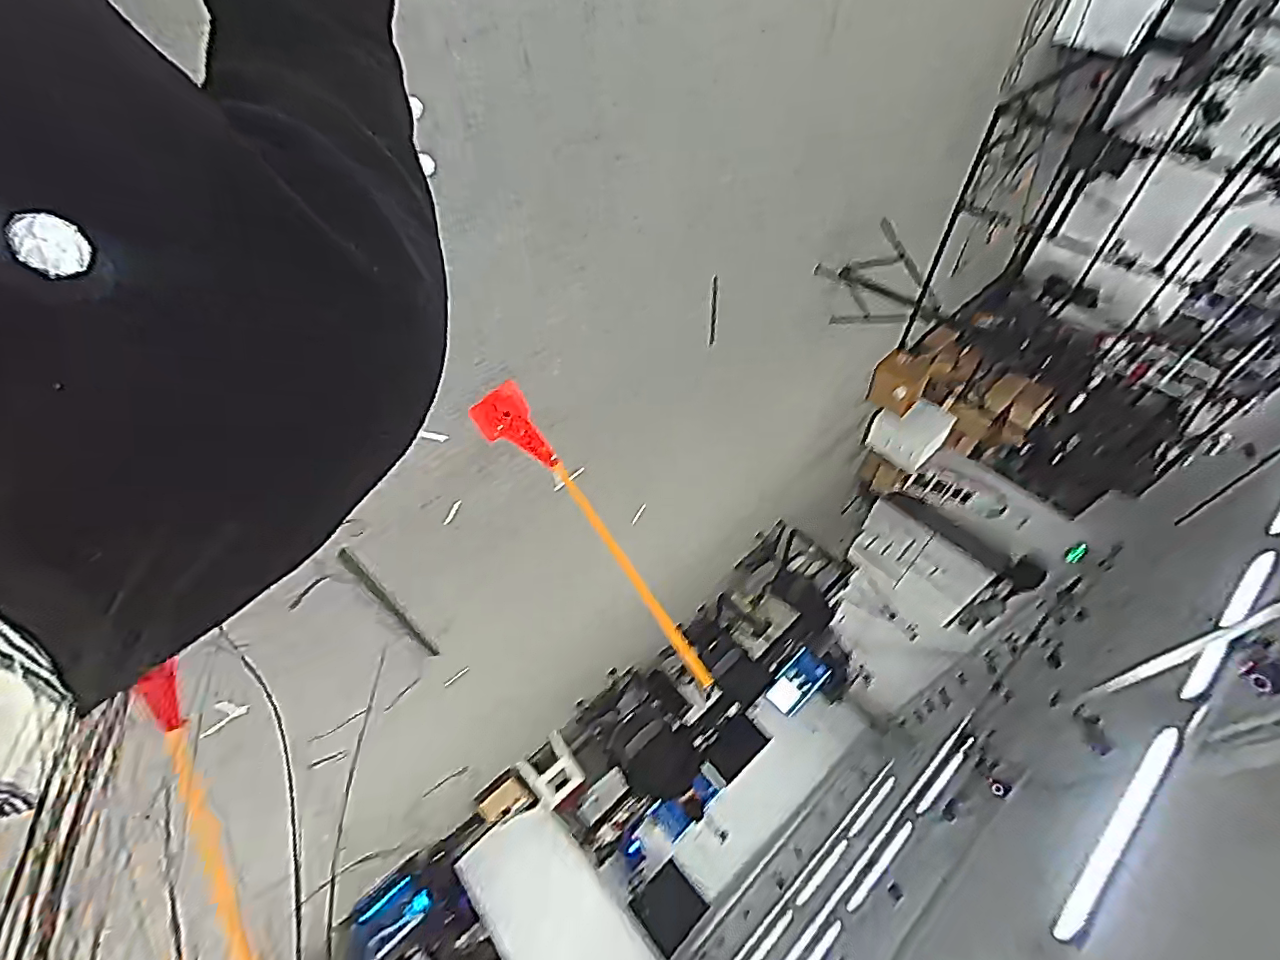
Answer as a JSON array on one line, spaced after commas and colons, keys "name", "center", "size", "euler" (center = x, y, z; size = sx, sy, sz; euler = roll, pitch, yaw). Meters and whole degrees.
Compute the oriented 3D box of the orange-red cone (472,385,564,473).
[{"name": "orange-red cone", "center": [-0.384, -0.140, 1.880], "size": [0.199, 0.360, 0.198], "euler": [-42, 151, -15]}]
